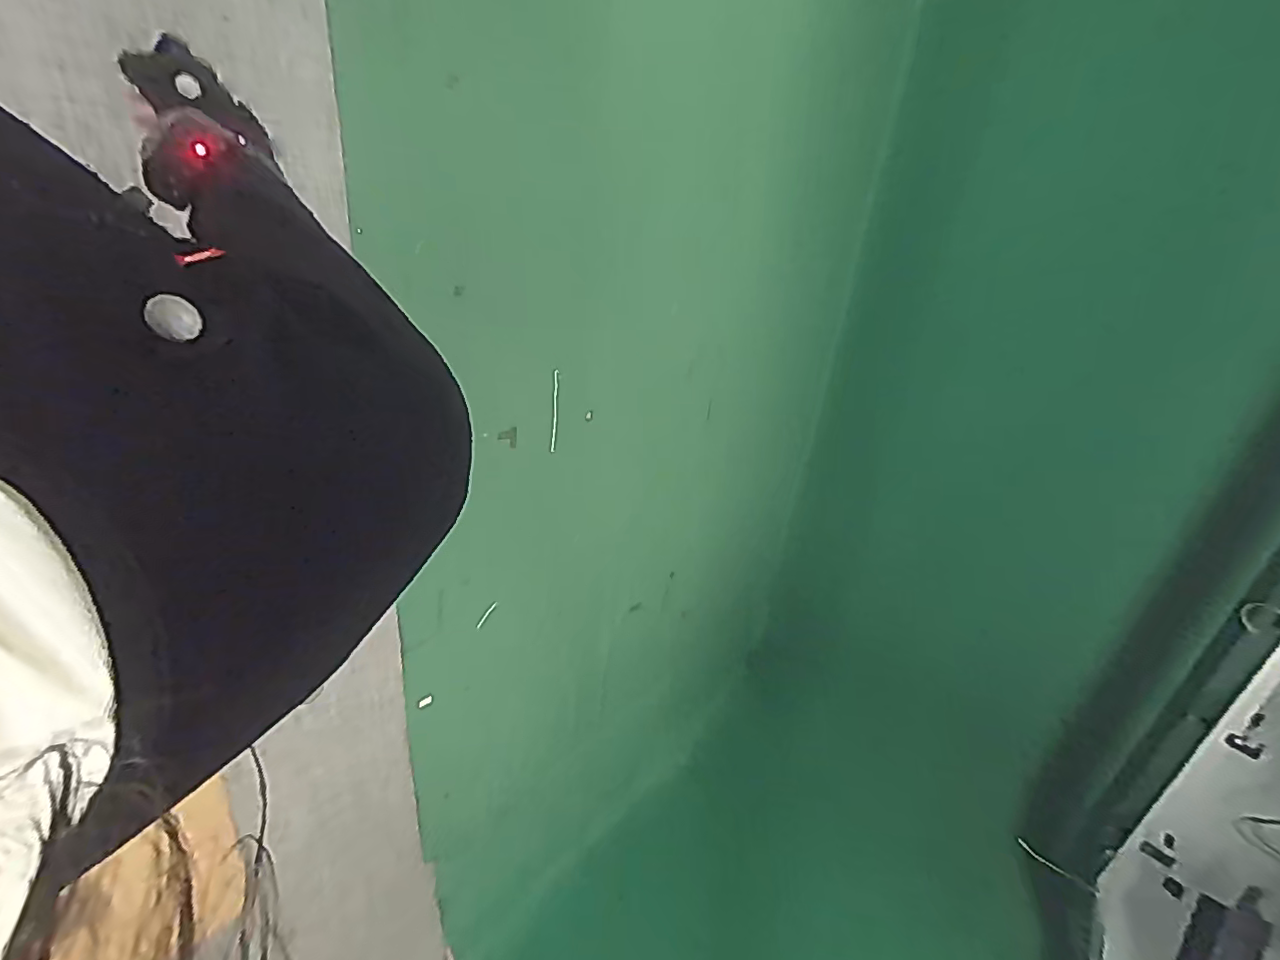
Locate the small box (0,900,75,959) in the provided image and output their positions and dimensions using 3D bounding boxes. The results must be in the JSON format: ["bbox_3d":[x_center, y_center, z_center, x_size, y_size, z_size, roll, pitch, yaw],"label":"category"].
[{"bbox_3d":[-1.390,1.098,1.207,0.168,0.176,0.179,-13,122,-49],"label":"small box"}]
